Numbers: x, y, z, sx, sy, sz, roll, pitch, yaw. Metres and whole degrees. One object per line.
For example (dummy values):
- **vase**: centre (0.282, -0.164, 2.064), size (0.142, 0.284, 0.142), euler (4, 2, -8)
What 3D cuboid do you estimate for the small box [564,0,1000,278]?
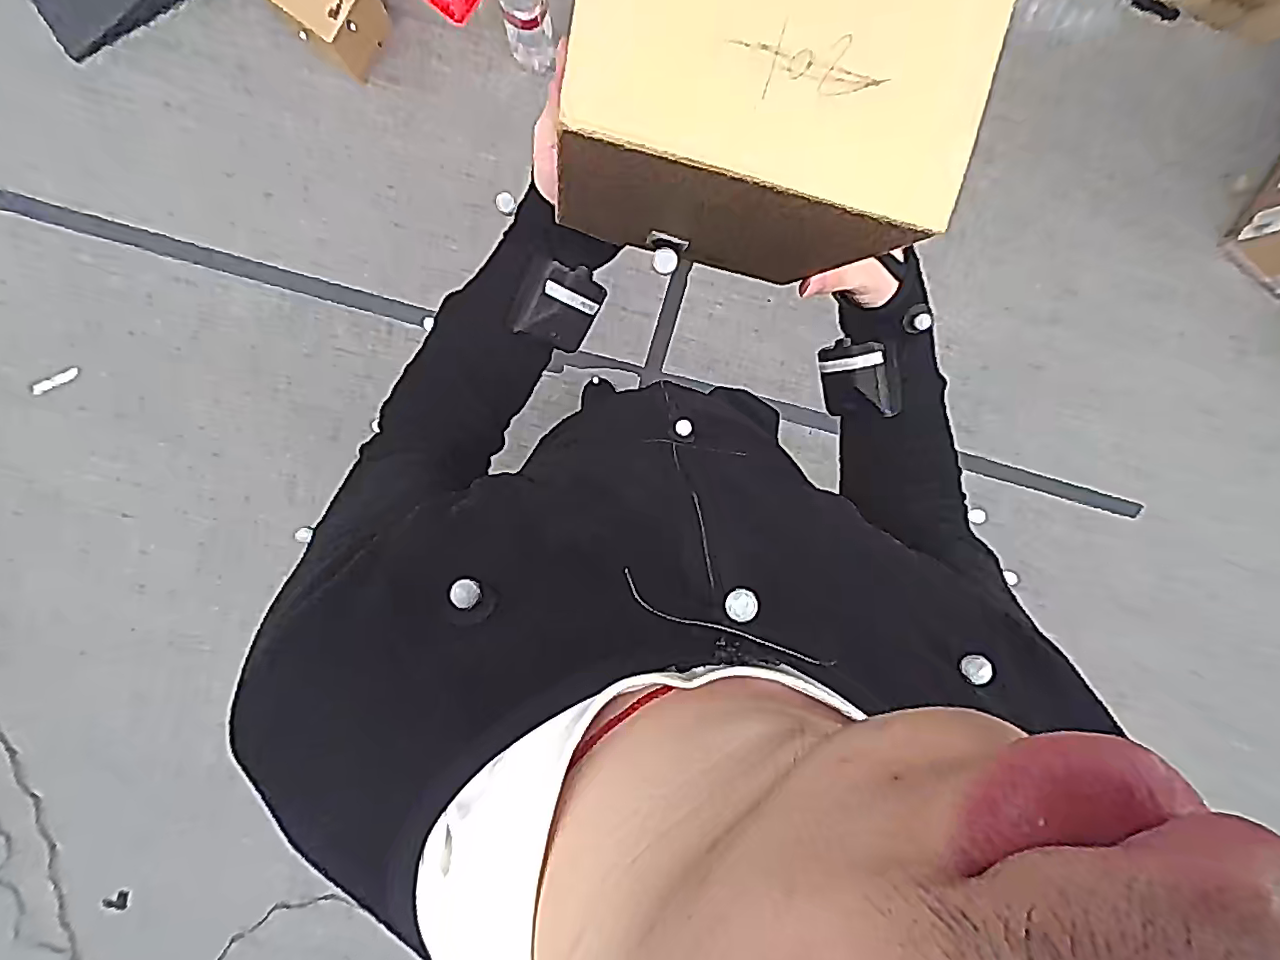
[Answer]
- **small box**: centre (0.055, -0.223, 0.284), size (0.168, 0.176, 0.179), euler (10, 101, -11)
